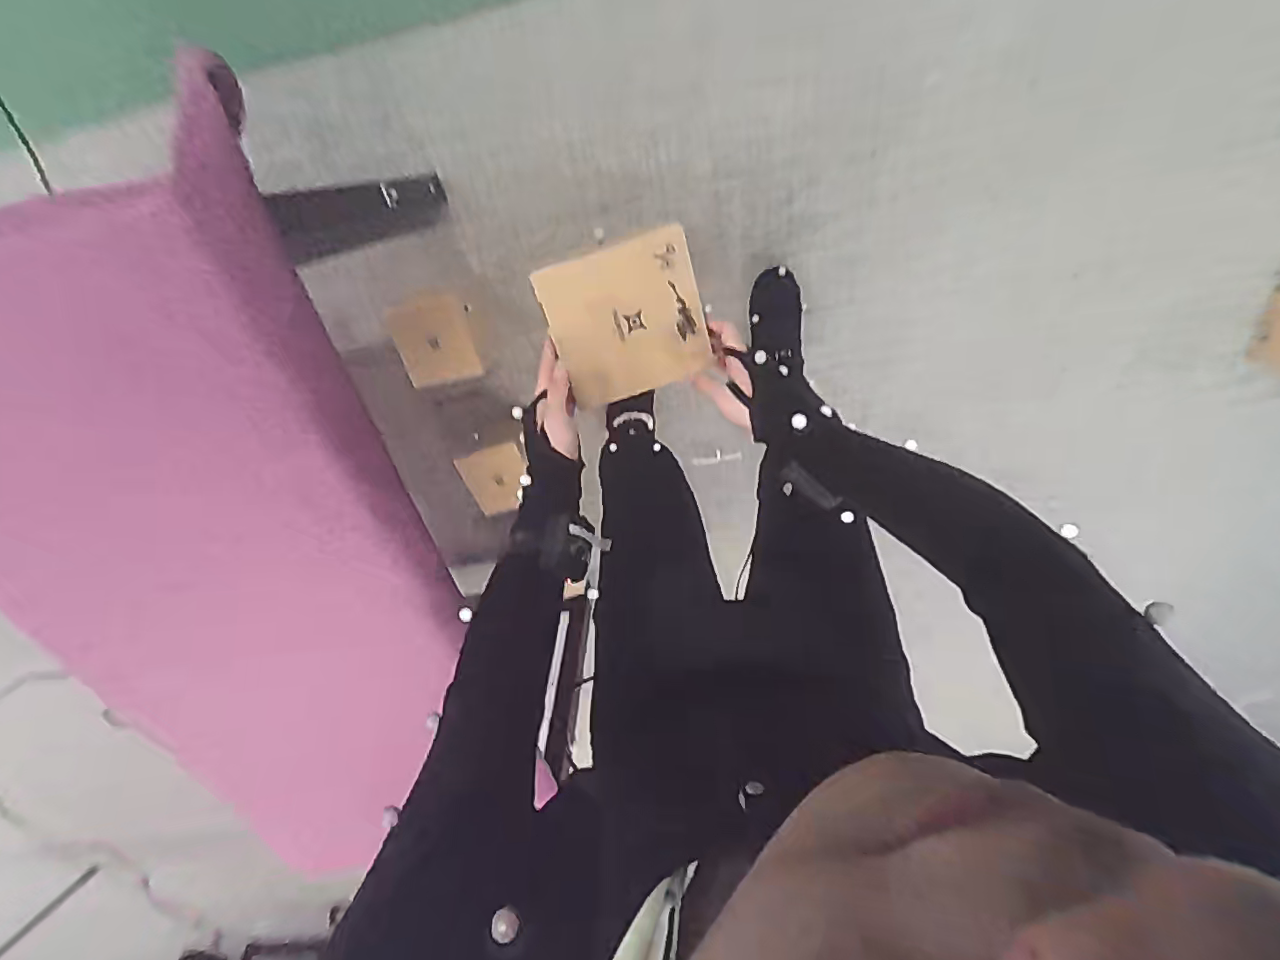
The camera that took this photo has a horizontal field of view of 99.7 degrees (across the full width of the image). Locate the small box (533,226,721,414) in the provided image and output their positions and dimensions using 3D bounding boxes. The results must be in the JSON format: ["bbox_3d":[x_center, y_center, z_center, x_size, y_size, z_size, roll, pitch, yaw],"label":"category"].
[{"bbox_3d":[-0.014,-0.200,0.664,0.179,0.176,0.168,-16,115,2],"label":"small box"}]

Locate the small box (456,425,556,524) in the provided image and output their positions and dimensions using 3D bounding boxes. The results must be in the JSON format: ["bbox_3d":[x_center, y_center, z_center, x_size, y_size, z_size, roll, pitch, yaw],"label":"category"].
[{"bbox_3d":[-0.327,-0.023,1.353,0.168,0.176,0.179,-16,119,12],"label":"small box"}]

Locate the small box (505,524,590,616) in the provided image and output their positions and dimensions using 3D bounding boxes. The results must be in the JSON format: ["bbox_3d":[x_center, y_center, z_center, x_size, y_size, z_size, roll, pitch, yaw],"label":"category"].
[{"bbox_3d":[-0.248,0.245,1.506,0.179,0.176,0.168,-18,118,12],"label":"small box"}]
